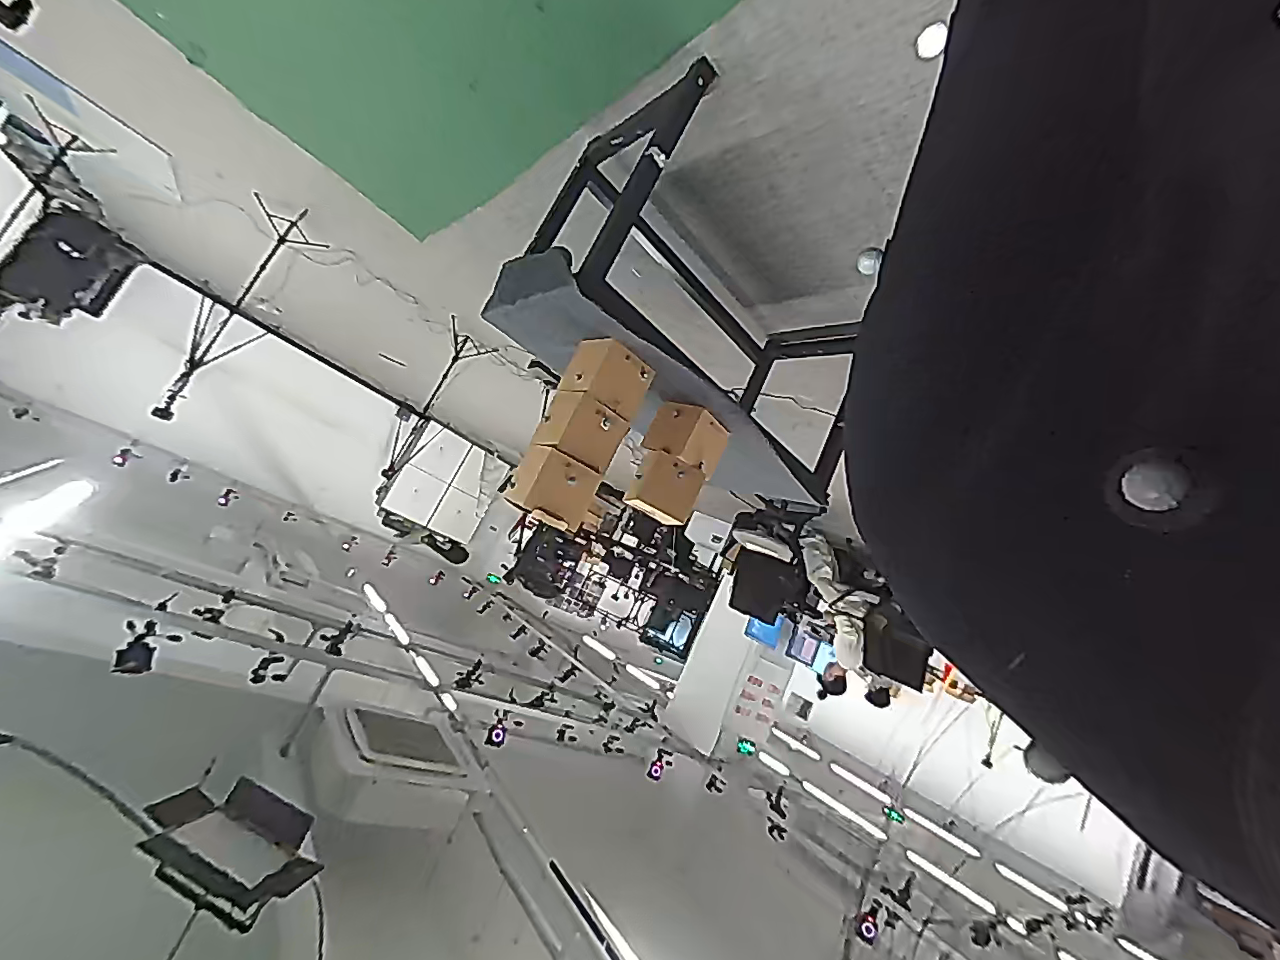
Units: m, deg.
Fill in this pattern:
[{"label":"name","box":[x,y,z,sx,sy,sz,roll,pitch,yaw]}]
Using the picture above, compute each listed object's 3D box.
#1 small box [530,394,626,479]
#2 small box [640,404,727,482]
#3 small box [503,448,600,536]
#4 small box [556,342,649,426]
[{"label":"small box","box":[-0.164,-0.122,1.460,0.168,0.176,0.179,30,169,-33]},{"label":"small box","box":[0.138,-0.119,1.668,0.179,0.176,0.168,17,167,44]},{"label":"small box","box":[-0.231,0.026,1.426,0.168,0.176,0.179,29,171,-30]},{"label":"small box","box":[-0.096,-0.266,1.490,0.168,0.176,0.179,33,170,-36]}]
